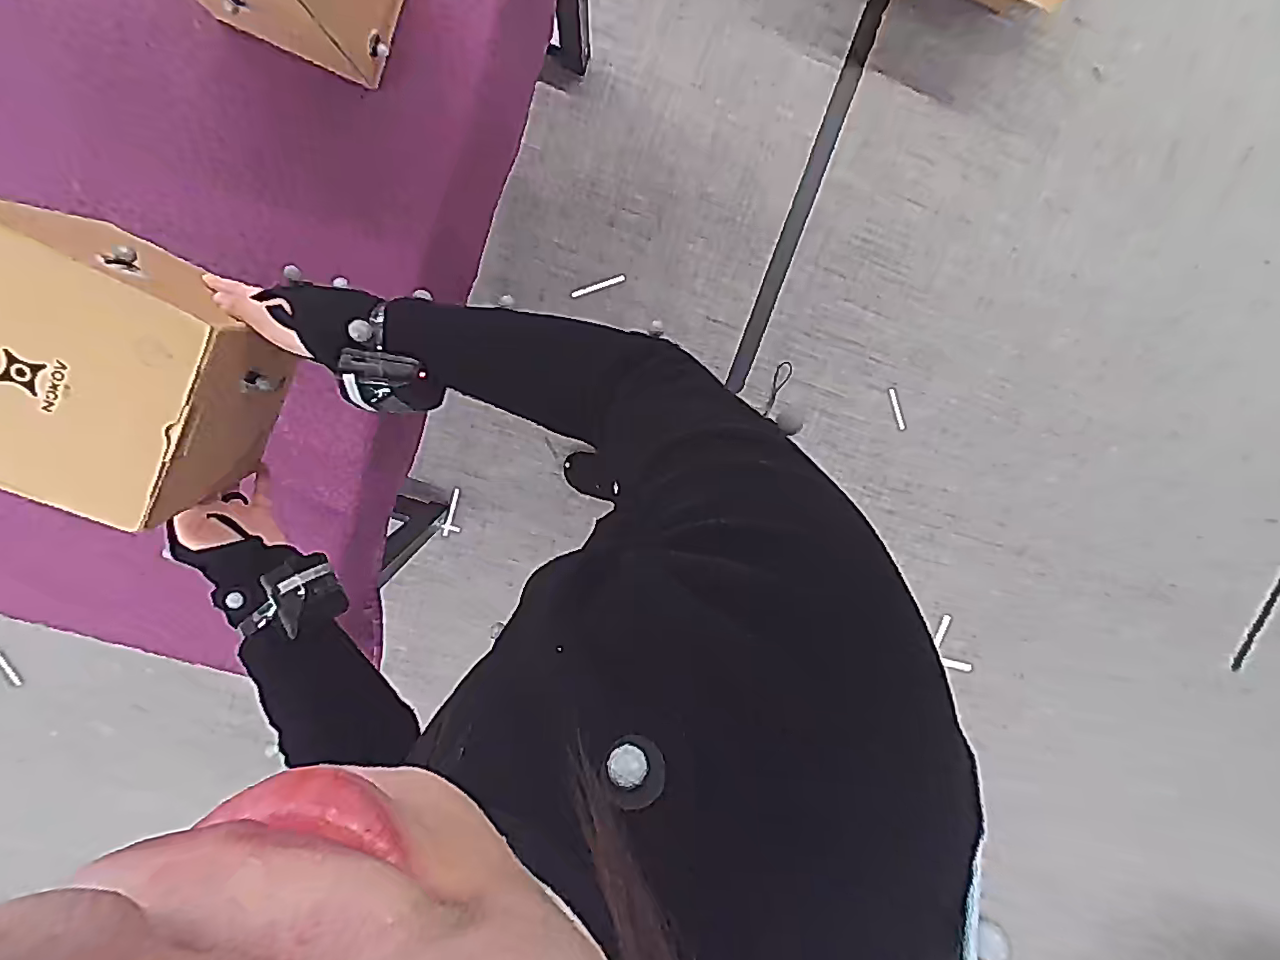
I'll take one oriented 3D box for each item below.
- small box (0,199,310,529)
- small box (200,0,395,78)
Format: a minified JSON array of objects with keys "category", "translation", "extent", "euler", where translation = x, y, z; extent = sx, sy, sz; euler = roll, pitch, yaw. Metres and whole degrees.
[{"category":"small box","translation":[-0.395,-0.093,0.416],"extent":[0.179,0.176,0.168],"euler":[26,100,-17]},{"category":"small box","translation":[-0.334,-0.516,0.492],"extent":[0.179,0.176,0.168],"euler":[21,100,-7]}]
